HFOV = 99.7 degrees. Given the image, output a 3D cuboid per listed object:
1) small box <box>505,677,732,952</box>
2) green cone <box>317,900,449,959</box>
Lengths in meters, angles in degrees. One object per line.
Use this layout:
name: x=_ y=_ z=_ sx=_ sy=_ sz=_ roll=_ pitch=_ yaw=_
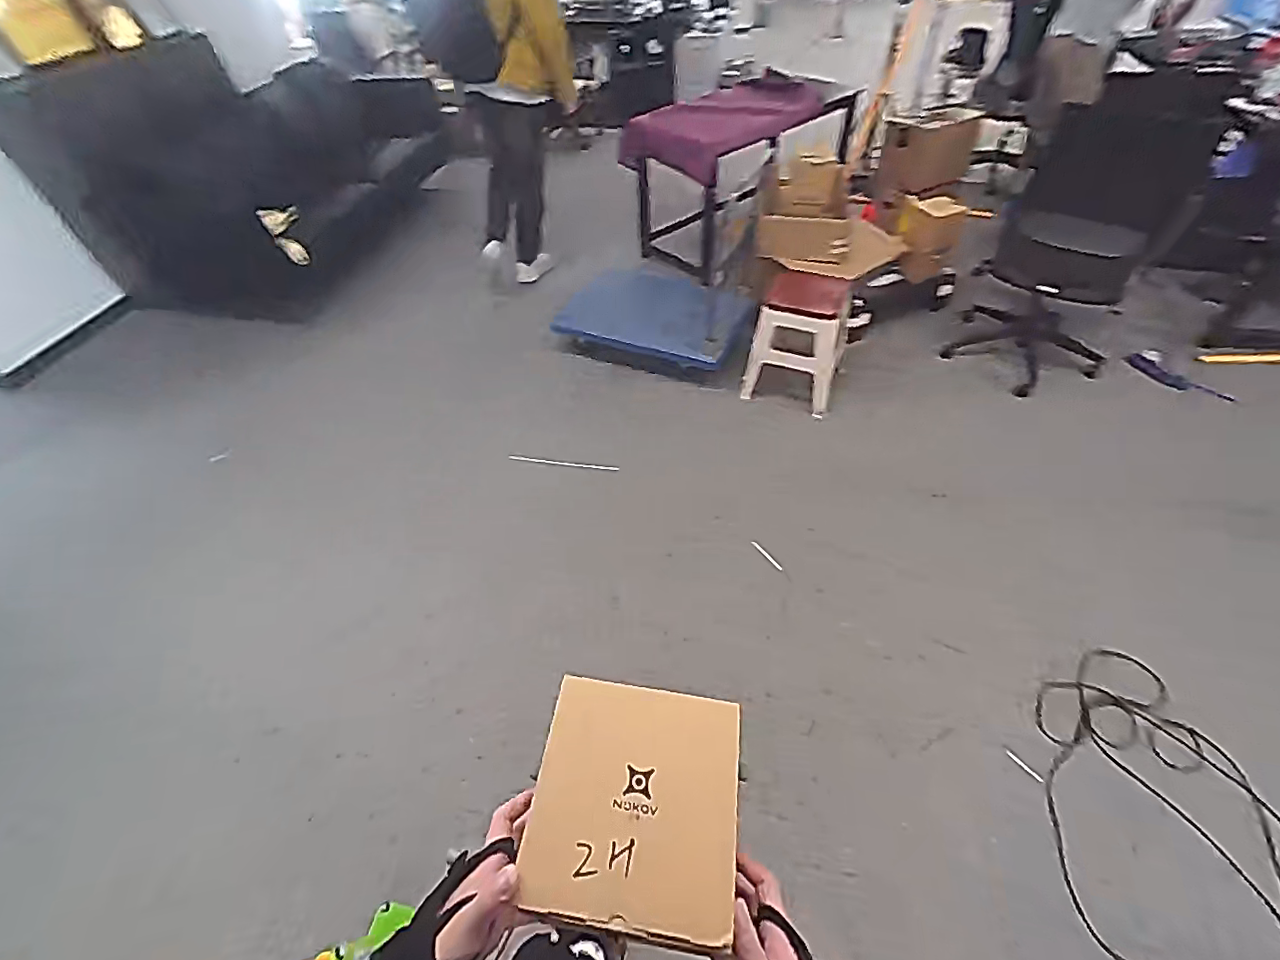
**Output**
small box: x=-0.012 y=0.314 z=0.510 sx=0.168 sy=0.176 sz=0.179 roll=8 pitch=49 yaw=5
green cone: x=-0.567 y=0.989 z=1.101 sx=0.202 sy=0.368 sz=0.200 roll=8 pitch=51 yaw=10
